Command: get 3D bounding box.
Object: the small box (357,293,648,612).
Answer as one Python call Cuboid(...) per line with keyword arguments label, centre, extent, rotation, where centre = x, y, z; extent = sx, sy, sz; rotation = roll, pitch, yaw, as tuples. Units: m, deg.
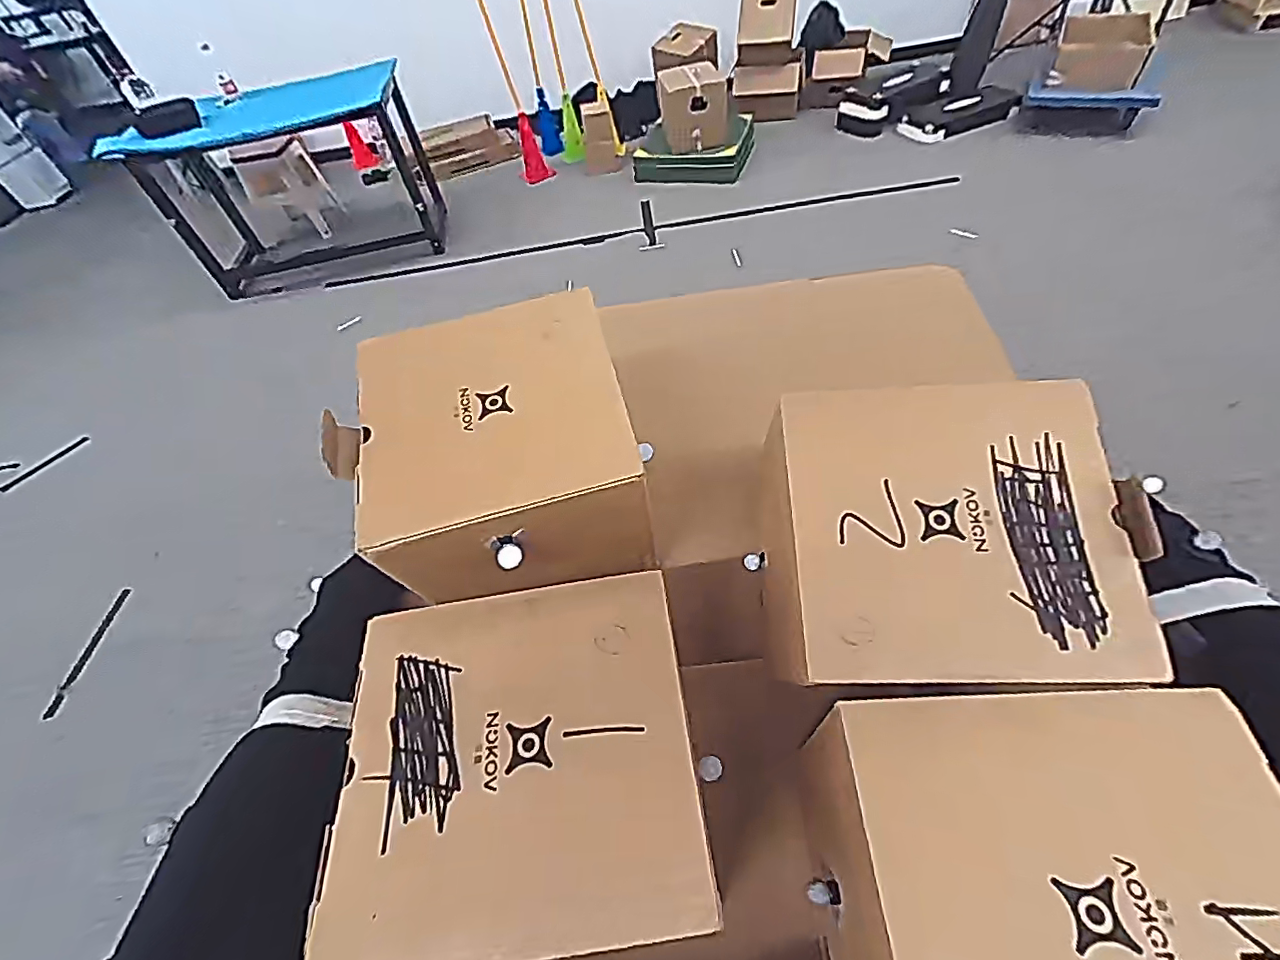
Cuboid(label="small box", centre=(-0.095, -0.011, 0.430), extent=(0.179, 0.176, 0.168), rotation=(-16, 61, -1))
